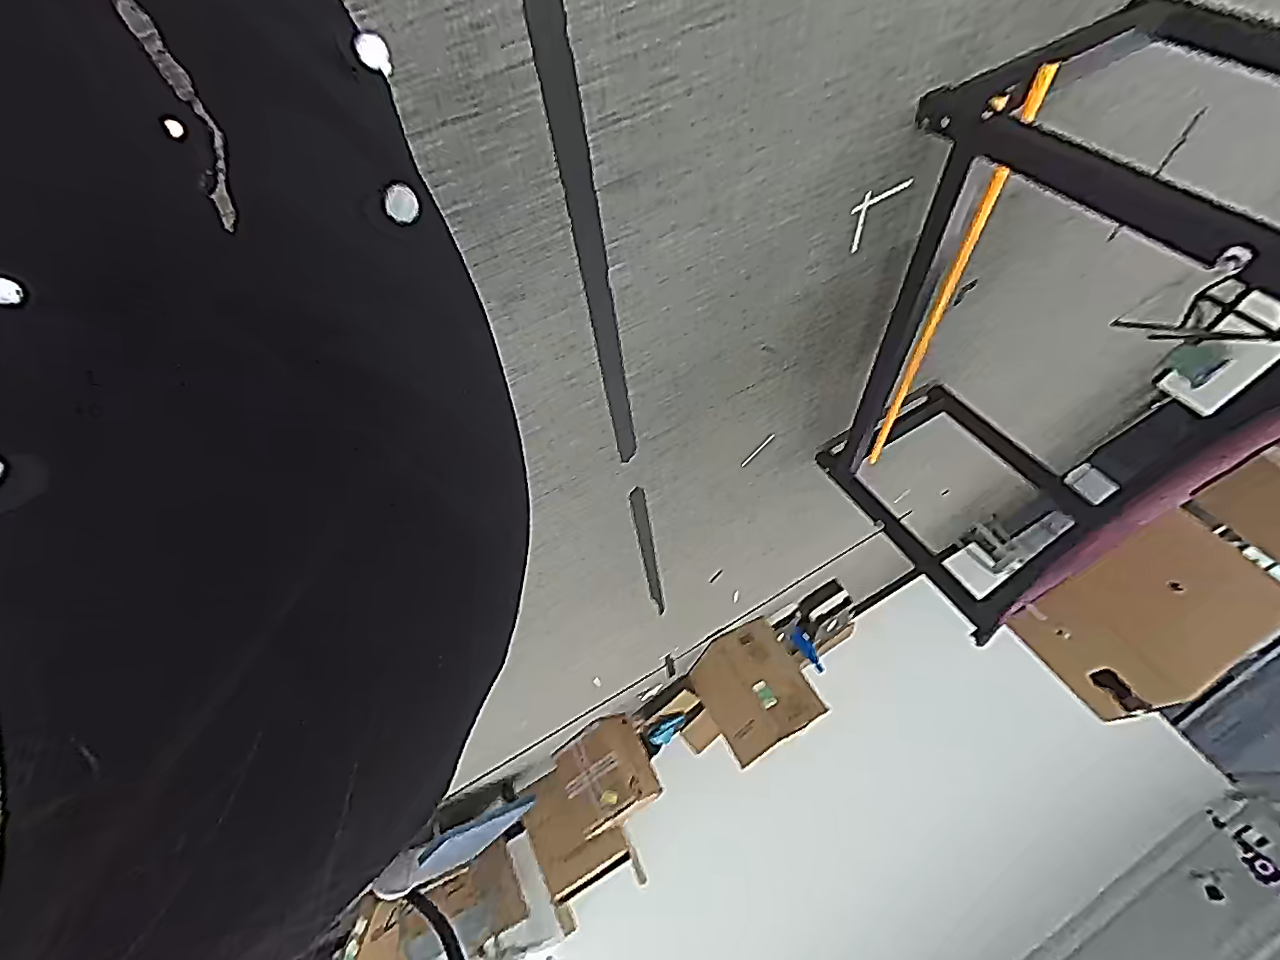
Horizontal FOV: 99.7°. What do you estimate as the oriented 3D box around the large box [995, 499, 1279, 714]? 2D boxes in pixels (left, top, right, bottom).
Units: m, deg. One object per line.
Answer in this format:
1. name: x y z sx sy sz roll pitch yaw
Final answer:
1. large box: 1.227 0.320 1.371 0.408 0.320 0.320 -30 150 -11
